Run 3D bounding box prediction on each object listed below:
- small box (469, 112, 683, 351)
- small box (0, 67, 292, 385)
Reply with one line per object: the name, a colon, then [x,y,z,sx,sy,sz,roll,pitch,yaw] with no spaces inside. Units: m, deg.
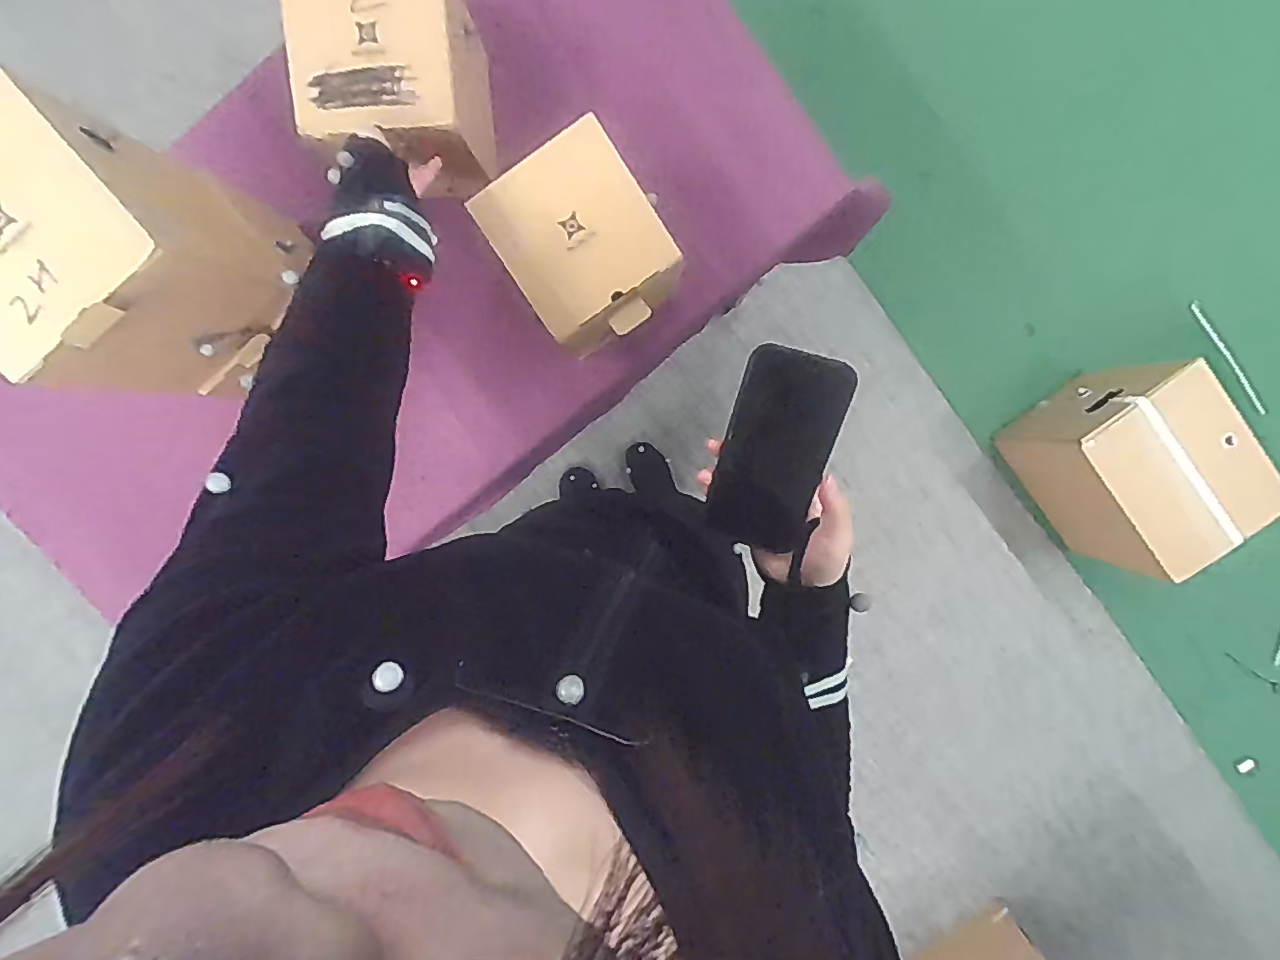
small box: [-0.068,-0.276,0.648,0.168,0.176,0.179,-33,96,4]
small box: [-0.481,-0.204,0.496,0.168,0.176,0.179,-39,95,5]
